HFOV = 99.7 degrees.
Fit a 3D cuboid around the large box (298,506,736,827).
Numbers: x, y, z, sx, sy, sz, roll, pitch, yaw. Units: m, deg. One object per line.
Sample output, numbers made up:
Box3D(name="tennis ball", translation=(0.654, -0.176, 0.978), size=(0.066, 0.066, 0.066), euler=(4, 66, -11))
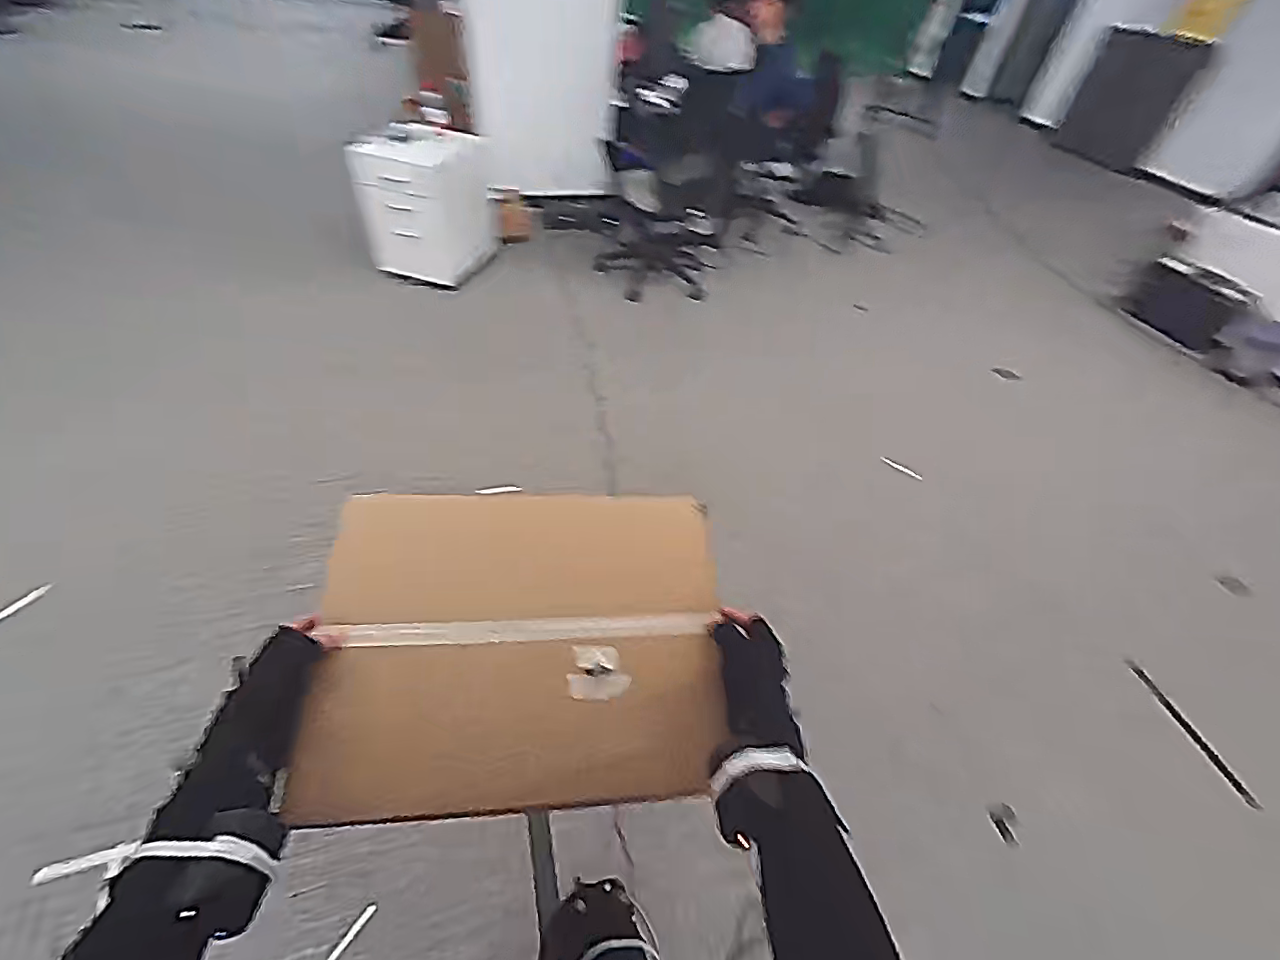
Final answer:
Box3D(name="large box", translation=(-0.137, 0.240, 0.695), size=(0.408, 0.320, 0.320), euler=(1, 60, -10))
